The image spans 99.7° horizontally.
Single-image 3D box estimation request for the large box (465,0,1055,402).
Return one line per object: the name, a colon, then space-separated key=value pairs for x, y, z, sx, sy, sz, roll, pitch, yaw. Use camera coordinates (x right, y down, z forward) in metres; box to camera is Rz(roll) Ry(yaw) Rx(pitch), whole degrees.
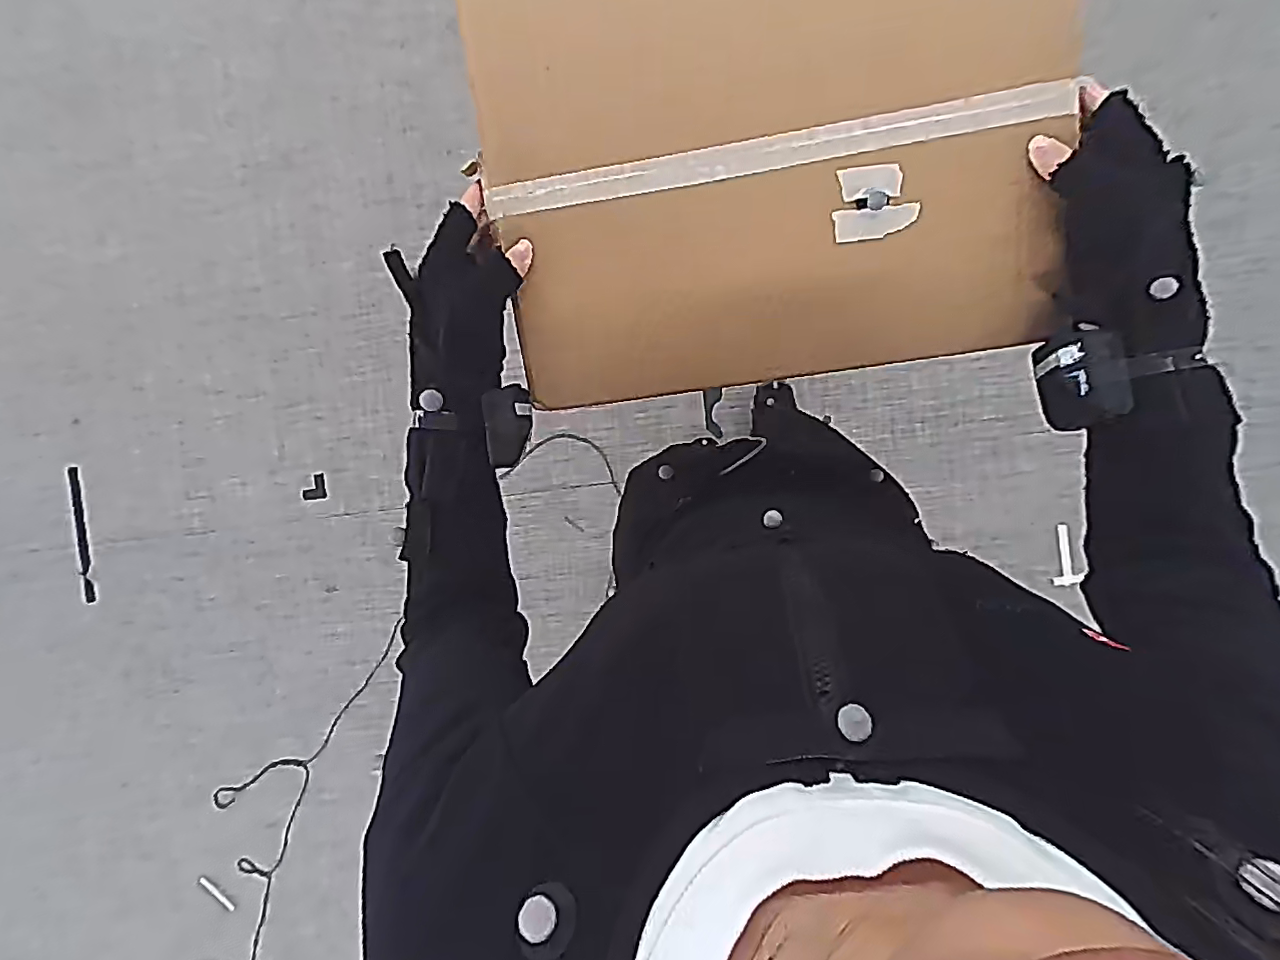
large box: x=0.098 y=-0.271 z=0.541 sx=0.408 sy=0.320 sz=0.320 roll=-7 pitch=103 yaw=5
